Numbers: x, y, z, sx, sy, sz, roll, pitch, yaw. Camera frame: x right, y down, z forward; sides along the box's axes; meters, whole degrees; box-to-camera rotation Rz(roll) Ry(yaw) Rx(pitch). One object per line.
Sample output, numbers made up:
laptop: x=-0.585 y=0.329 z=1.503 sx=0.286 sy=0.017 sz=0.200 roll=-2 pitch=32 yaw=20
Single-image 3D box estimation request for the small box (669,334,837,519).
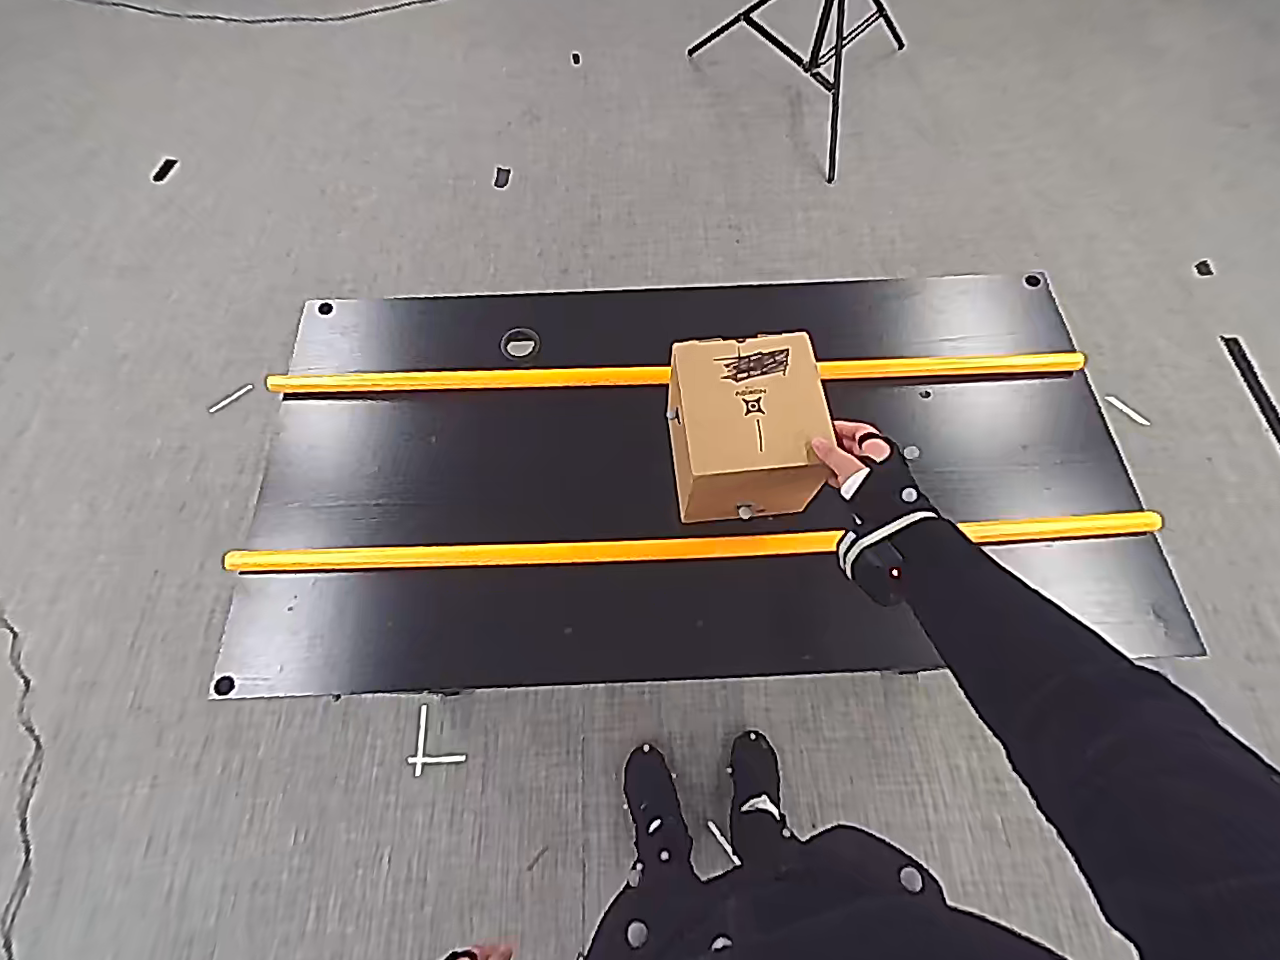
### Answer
small box: x=0.129 y=-0.063 z=0.698 sx=0.168 sy=0.176 sz=0.179 roll=-5 pitch=68 yaw=-1
